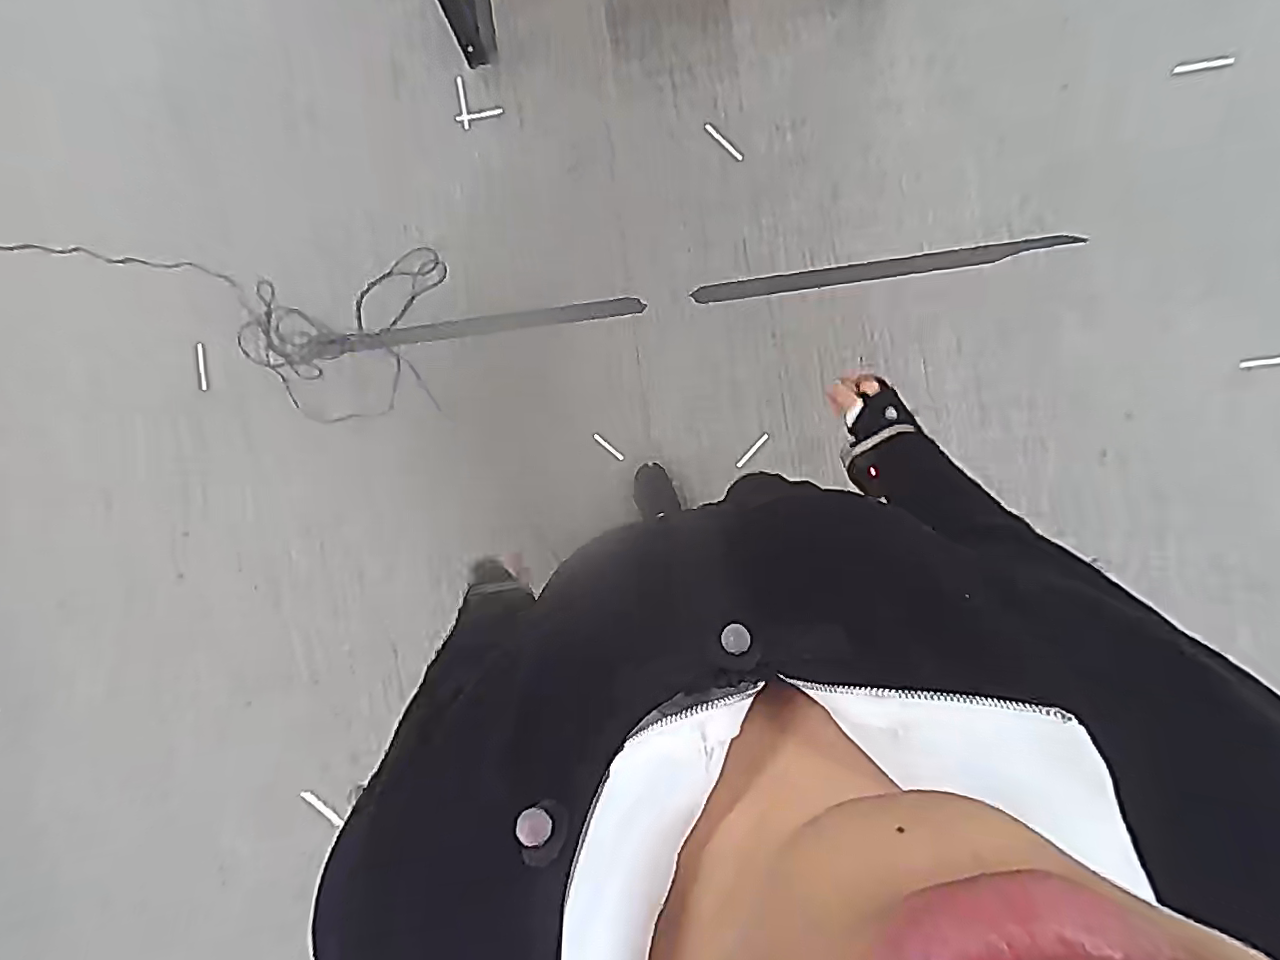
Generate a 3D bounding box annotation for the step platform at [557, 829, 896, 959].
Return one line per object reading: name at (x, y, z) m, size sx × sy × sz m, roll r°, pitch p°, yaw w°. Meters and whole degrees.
step platform at (0.179, 0.986, 1.174) m, size 0.684 × 0.204 × 0.286 m, roll -10°, pitch 89°, yaw 4°
